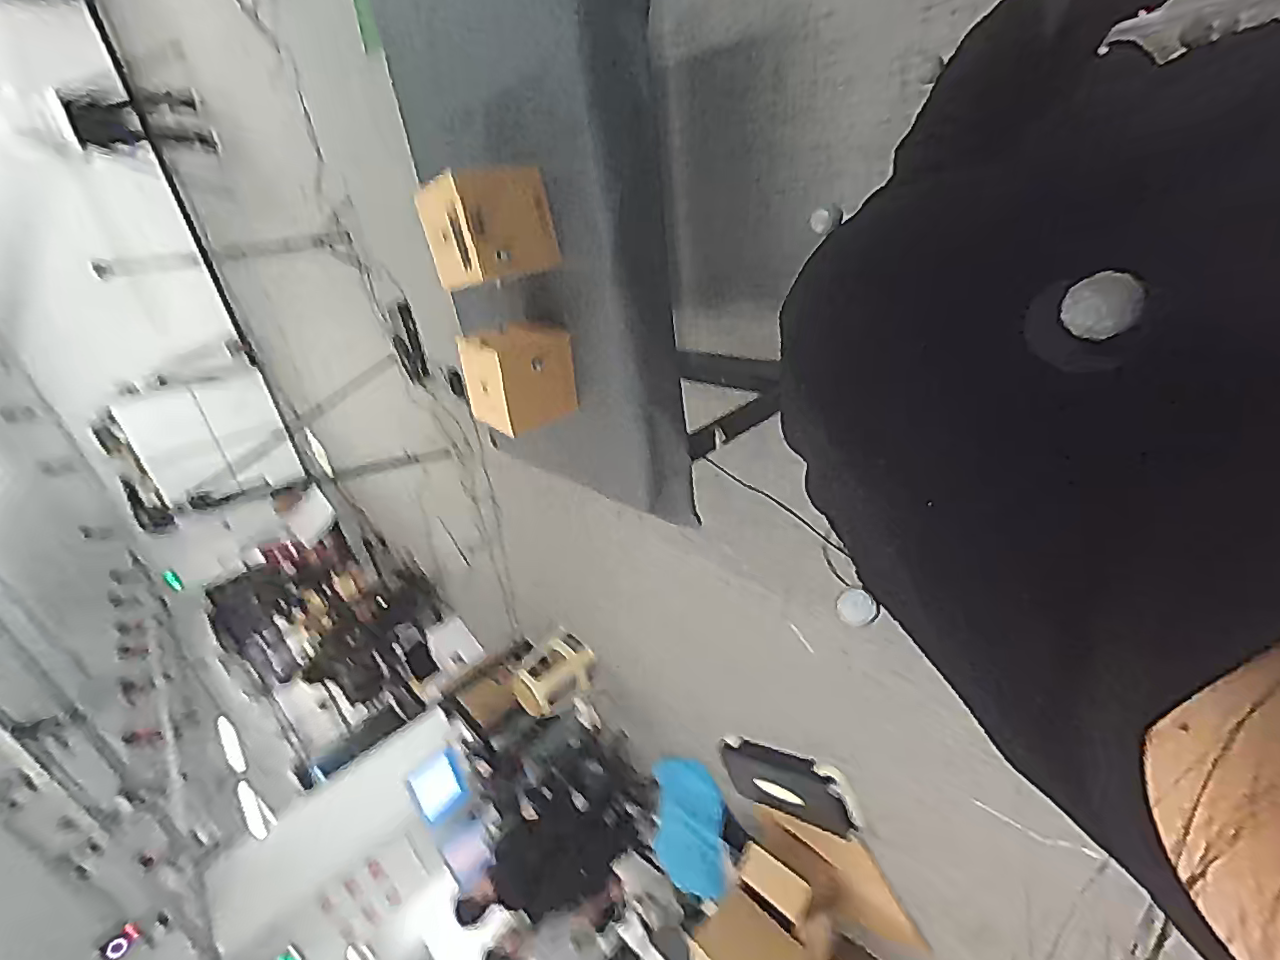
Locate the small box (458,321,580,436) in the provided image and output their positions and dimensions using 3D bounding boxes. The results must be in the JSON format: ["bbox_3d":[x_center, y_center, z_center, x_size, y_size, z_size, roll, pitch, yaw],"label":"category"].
[{"bbox_3d":[-0.243,-0.217,1.110,0.168,0.176,0.179,27,133,40],"label":"small box"}]
